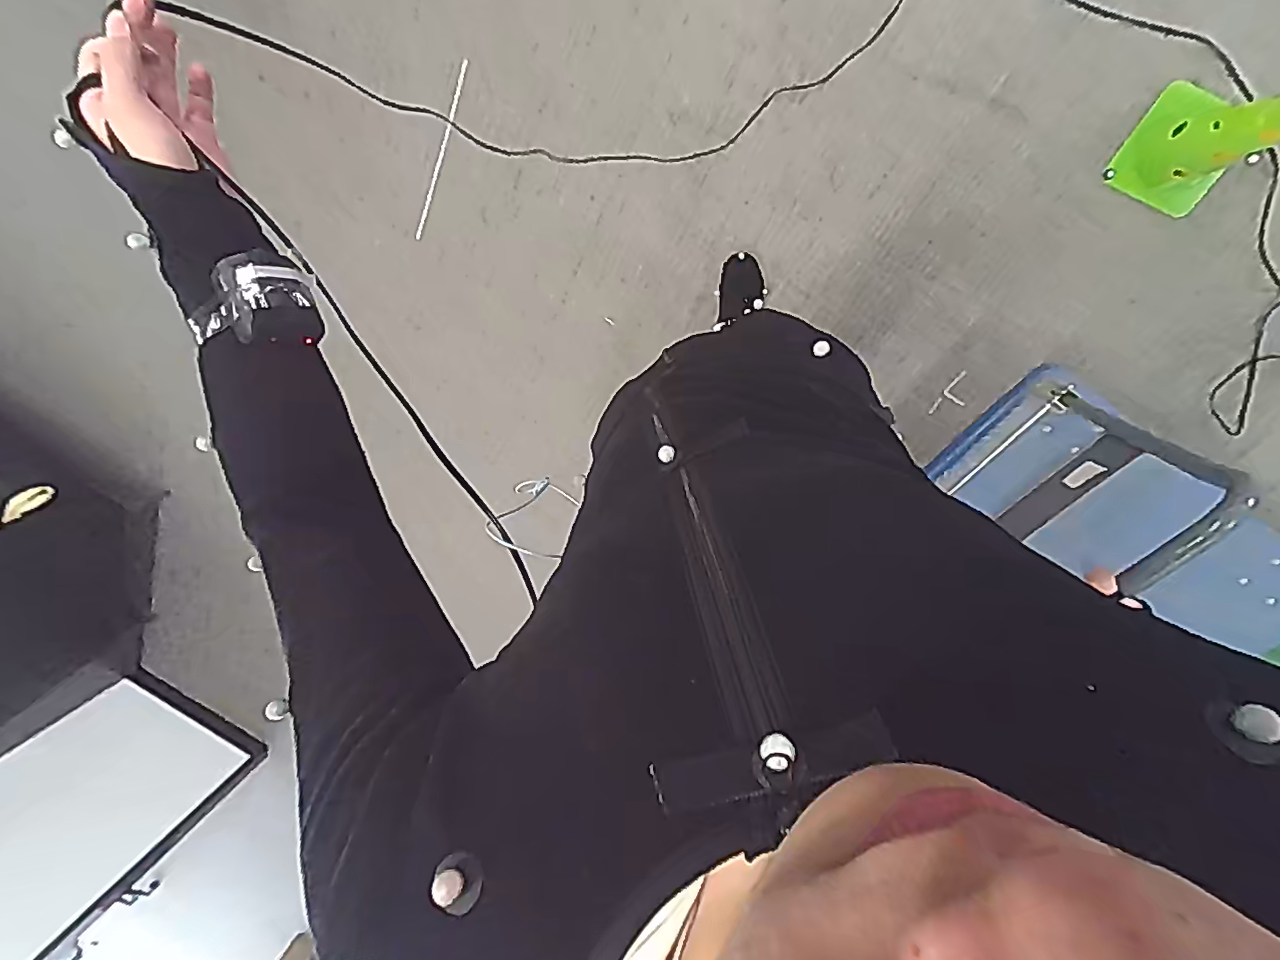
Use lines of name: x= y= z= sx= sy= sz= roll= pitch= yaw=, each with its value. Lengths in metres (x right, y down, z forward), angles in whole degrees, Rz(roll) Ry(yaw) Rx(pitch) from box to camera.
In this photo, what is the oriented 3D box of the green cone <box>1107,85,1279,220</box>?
green cone: x=1.079 y=-0.612 z=0.961 sx=0.200 sy=0.368 sz=0.202 roll=28 pitch=115 yaw=3
